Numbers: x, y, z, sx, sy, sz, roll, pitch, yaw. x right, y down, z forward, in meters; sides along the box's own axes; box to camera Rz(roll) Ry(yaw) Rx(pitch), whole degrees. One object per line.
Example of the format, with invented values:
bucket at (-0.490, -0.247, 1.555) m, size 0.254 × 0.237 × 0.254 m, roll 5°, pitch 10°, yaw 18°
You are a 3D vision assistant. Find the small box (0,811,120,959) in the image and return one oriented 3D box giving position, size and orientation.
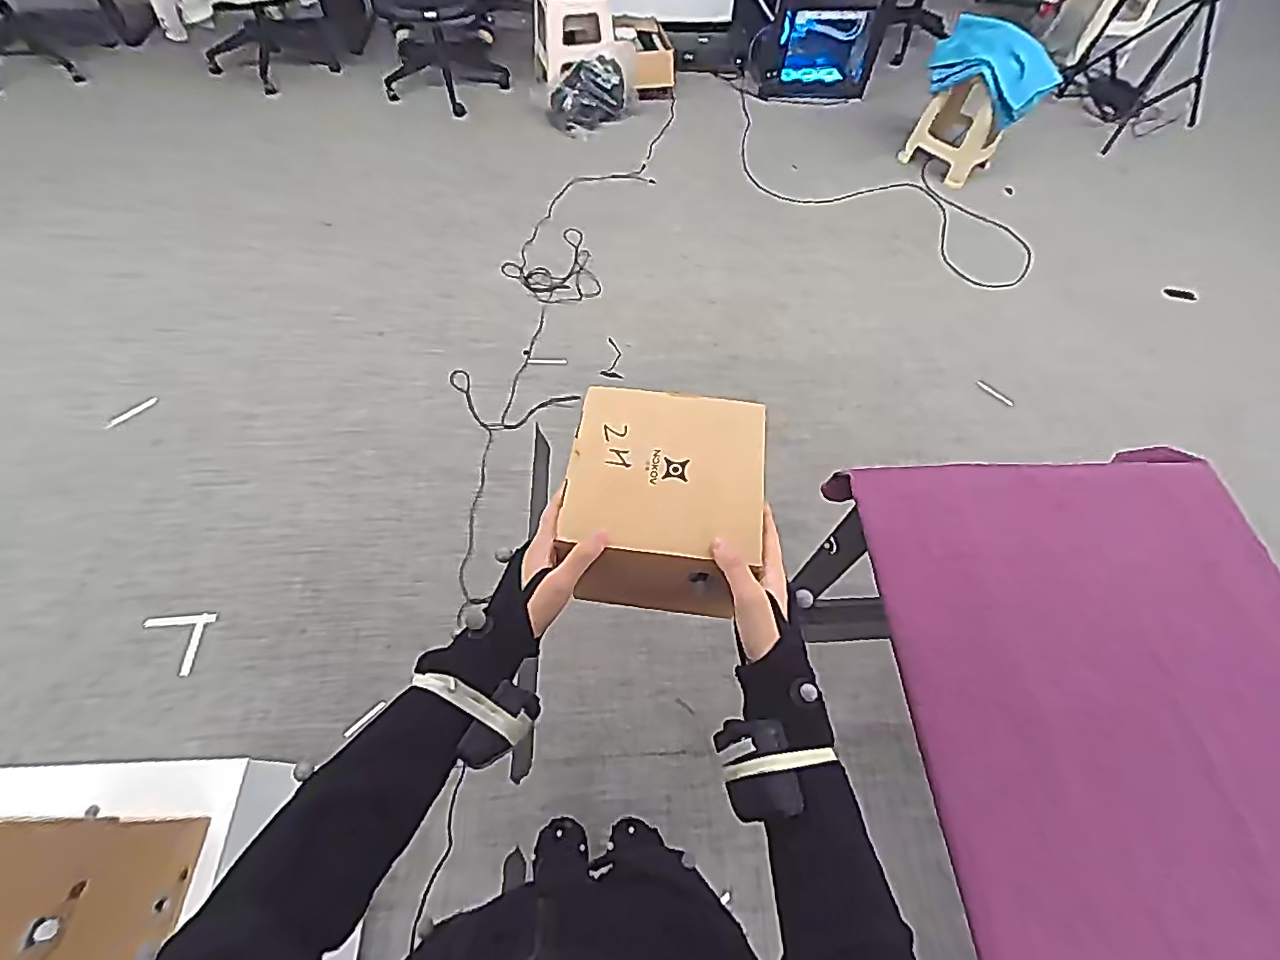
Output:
small box at (-0.632, 0.387, 0.466) m, size 0.179 × 0.176 × 0.168 m, roll 1°, pitch 61°, yaw -3°

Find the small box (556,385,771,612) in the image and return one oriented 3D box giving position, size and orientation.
small box at (0.027, 0.027, 0.548) m, size 0.179 × 0.176 × 0.168 m, roll 6°, pitch 61°, yaw 4°
